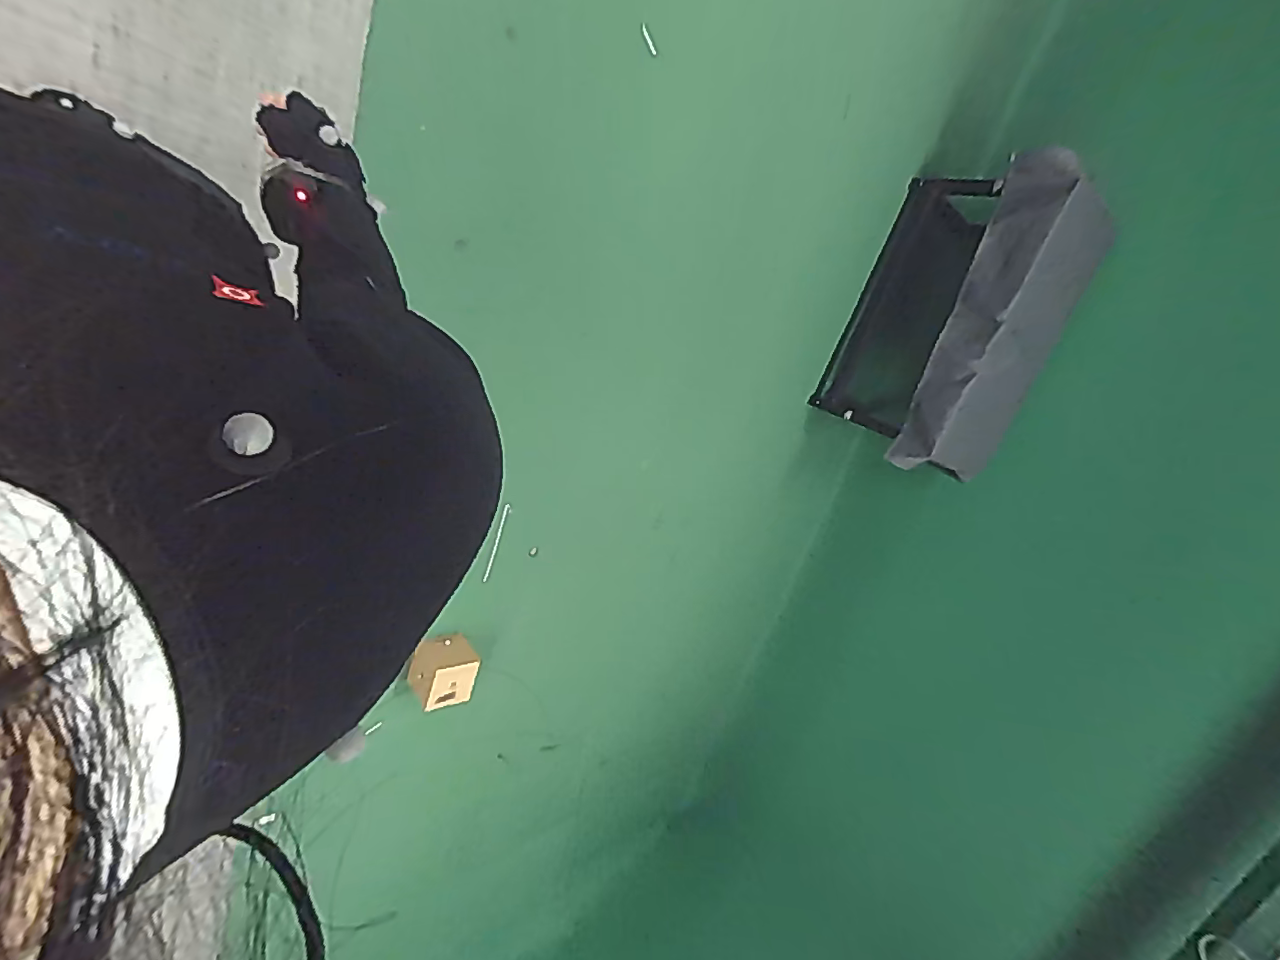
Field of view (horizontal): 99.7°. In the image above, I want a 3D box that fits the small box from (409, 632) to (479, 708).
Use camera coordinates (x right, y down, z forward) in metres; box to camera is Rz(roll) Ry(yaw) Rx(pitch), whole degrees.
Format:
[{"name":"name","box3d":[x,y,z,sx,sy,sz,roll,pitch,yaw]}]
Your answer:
[{"name":"small box","box3d":[-0.705,0.673,1.932,0.168,0.176,0.179,4,112,-47]}]
